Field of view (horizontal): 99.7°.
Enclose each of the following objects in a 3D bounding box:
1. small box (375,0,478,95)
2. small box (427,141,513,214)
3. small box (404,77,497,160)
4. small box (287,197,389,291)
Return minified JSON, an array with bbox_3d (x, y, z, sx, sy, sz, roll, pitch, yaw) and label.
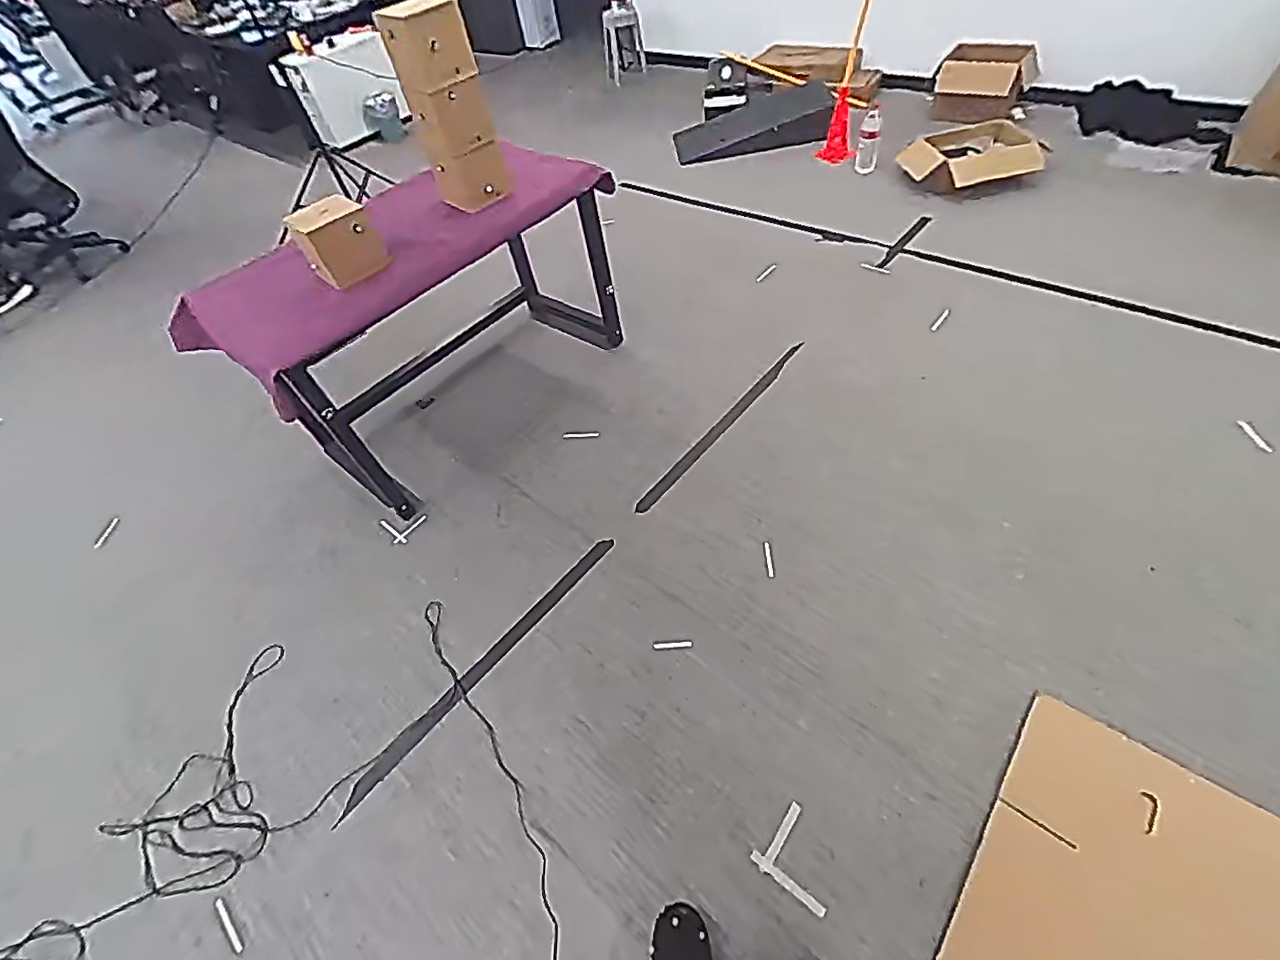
[{"bbox_3d":[-0.576,-1.178,1.477,0.168,0.176,0.179,-41,56,-21],"label":"small box"},{"bbox_3d":[-0.541,-0.981,1.737,0.179,0.176,0.168,34,65,30],"label":"small box"},{"bbox_3d":[-0.559,-1.080,1.608,0.168,0.176,0.179,-41,56,-21],"label":"small box"},{"bbox_3d":[-0.849,-0.672,1.544,0.168,0.176,0.179,34,64,31],"label":"small box"}]
